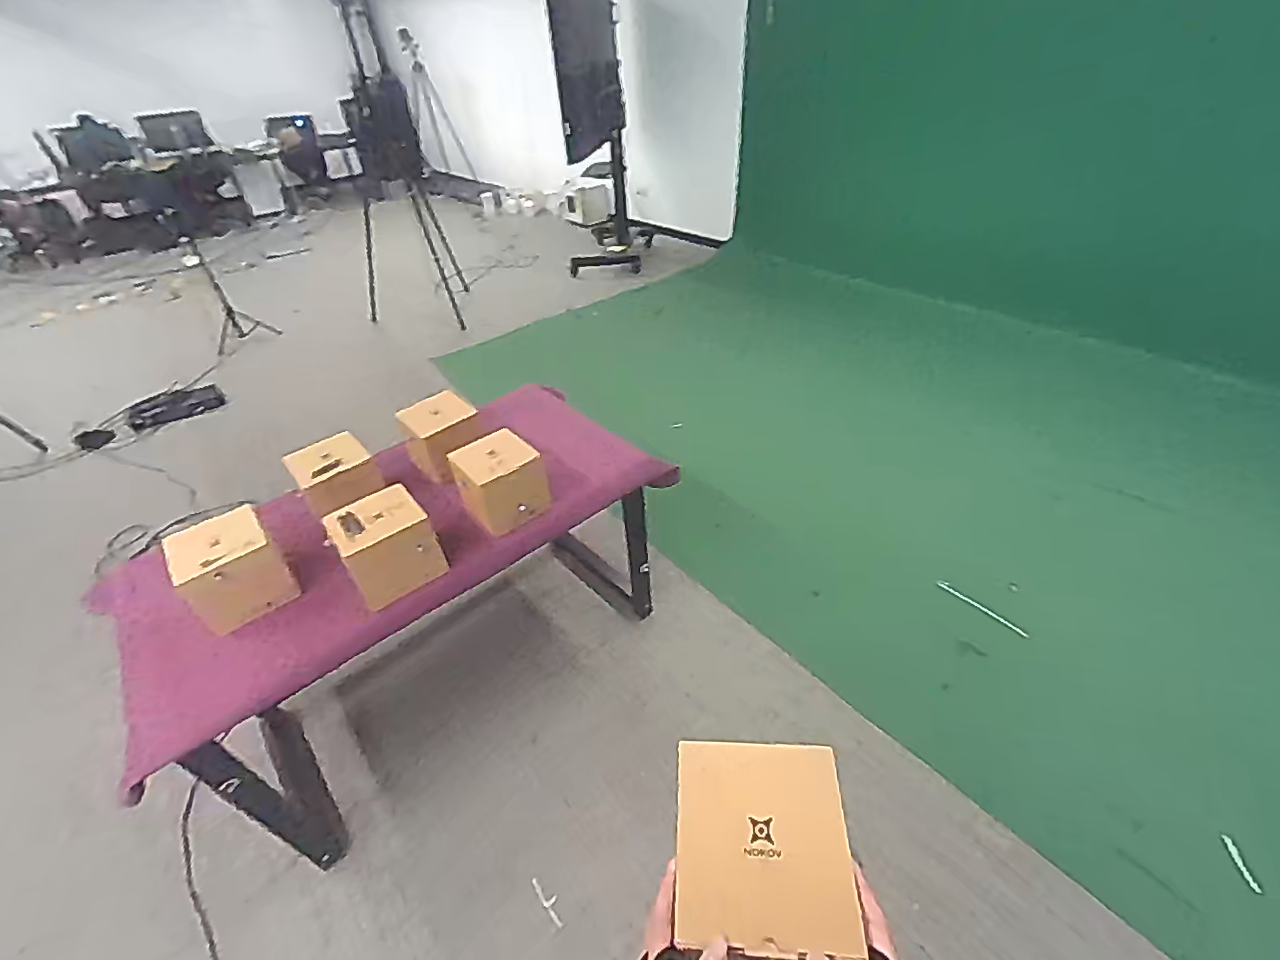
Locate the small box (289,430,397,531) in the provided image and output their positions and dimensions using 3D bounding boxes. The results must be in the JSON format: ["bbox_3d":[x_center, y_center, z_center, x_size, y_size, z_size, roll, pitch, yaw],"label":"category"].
[{"bbox_3d":[-0.753,0.006,1.382,0.168,0.176,0.179,-32,46,-30],"label":"small box"}]

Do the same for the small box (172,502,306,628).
[{"bbox_3d":[-0.864,0.183,1.173,0.168,0.176,0.179,-31,46,-28],"label":"small box"}]

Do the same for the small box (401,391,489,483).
[{"bbox_3d":[-0.538,-0.120,1.521,0.168,0.176,0.179,-33,48,-29],"label":"small box"}]

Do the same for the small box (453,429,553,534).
[{"bbox_3d":[-0.338,0.003,1.349,0.168,0.176,0.179,-30,45,-28],"label":"small box"}]

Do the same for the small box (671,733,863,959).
[{"bbox_3d":[0.119,0.396,0.579,0.168,0.176,0.179,-1,44,6],"label":"small box"}]
